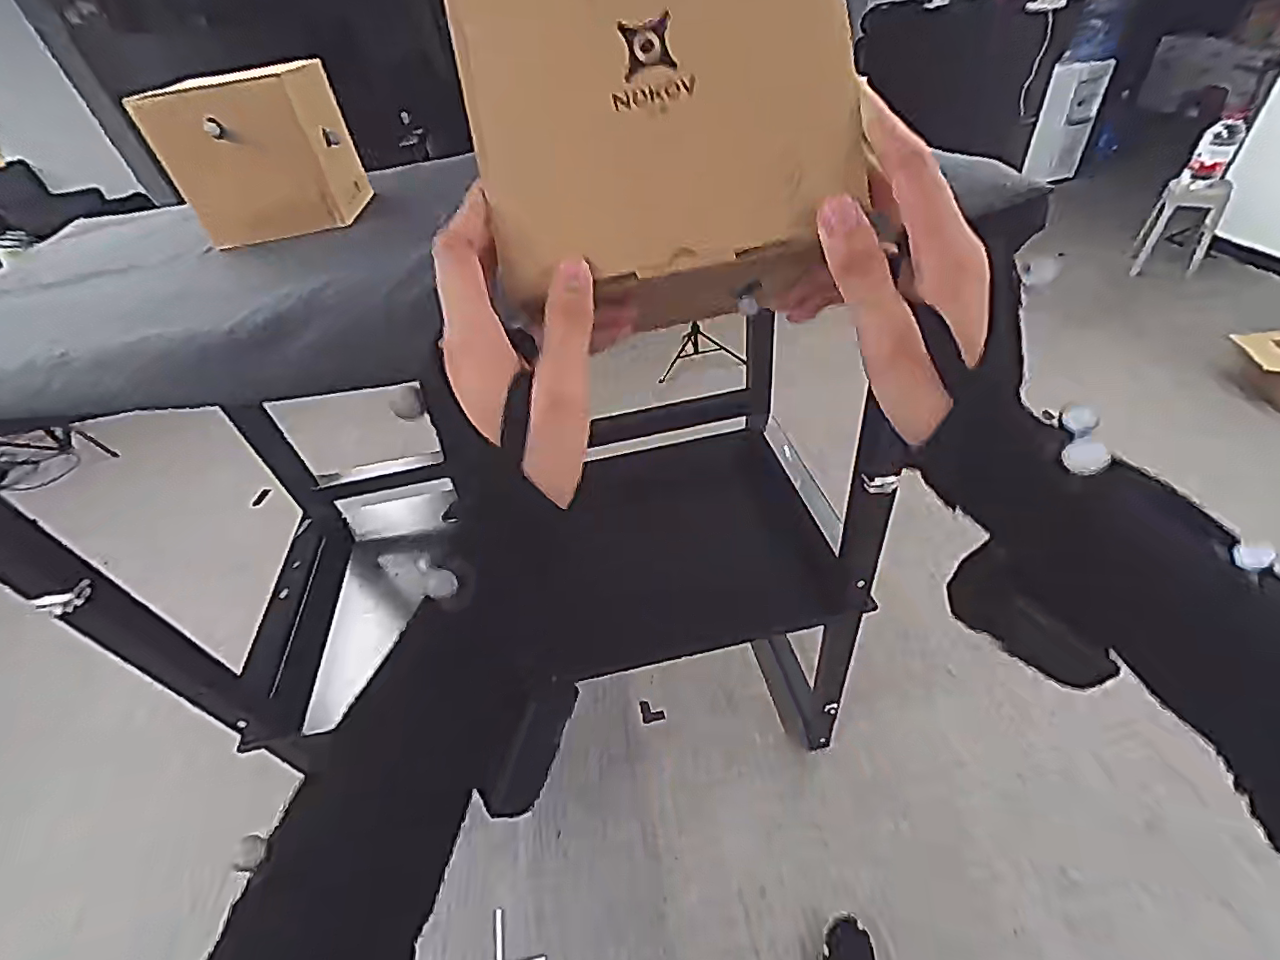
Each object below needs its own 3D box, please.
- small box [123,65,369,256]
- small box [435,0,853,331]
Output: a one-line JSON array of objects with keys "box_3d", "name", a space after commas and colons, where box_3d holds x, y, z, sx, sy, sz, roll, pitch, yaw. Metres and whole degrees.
[{"box_3d": [-0.487, -0.417, 0.708, 0.179, 0.176, 0.168, -12, 43, -2], "name": "small box"}, {"box_3d": [0.005, -0.190, 0.310, 0.168, 0.179, 0.176, -10, 7, 5], "name": "small box"}]
